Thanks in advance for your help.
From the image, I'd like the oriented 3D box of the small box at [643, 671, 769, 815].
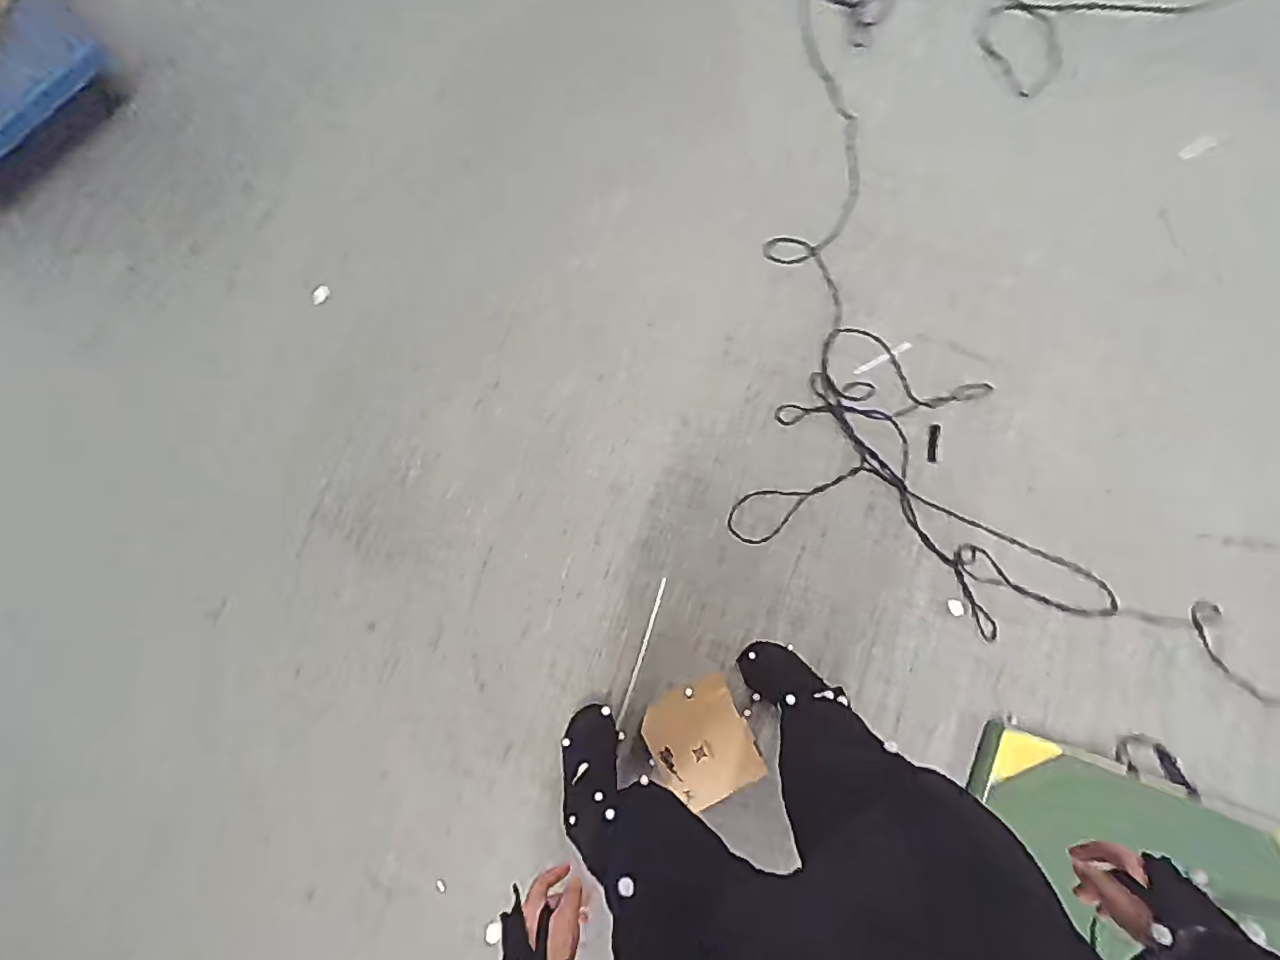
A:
[{"bbox_3d":[0.119,0.489,1.038,0.179,0.176,0.168,-28,80,-1],"label":"small box"}]
